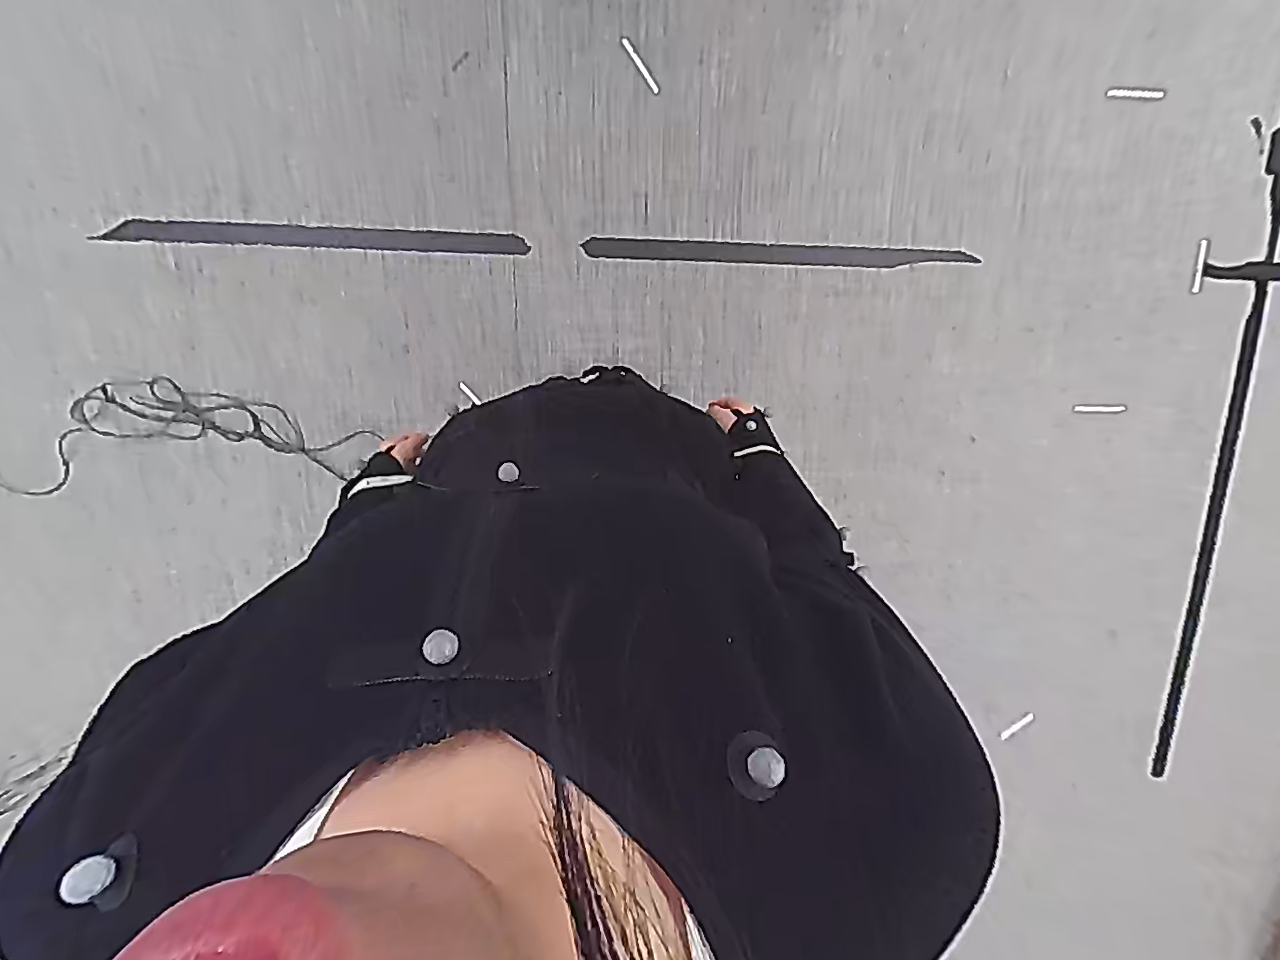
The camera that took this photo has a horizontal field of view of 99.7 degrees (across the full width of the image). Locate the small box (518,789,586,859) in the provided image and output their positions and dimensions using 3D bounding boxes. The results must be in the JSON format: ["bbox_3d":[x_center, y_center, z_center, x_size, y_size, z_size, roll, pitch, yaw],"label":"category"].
[{"bbox_3d":[-0.255,1.052,1.602,0.179,0.176,0.168,-5,101,-4],"label":"small box"}]

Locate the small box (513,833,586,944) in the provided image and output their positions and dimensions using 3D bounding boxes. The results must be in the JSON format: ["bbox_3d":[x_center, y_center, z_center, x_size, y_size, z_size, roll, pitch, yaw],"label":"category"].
[{"bbox_3d":[-0.235,1.079,1.441,0.179,0.176,0.168,-3,100,-4],"label":"small box"}]
